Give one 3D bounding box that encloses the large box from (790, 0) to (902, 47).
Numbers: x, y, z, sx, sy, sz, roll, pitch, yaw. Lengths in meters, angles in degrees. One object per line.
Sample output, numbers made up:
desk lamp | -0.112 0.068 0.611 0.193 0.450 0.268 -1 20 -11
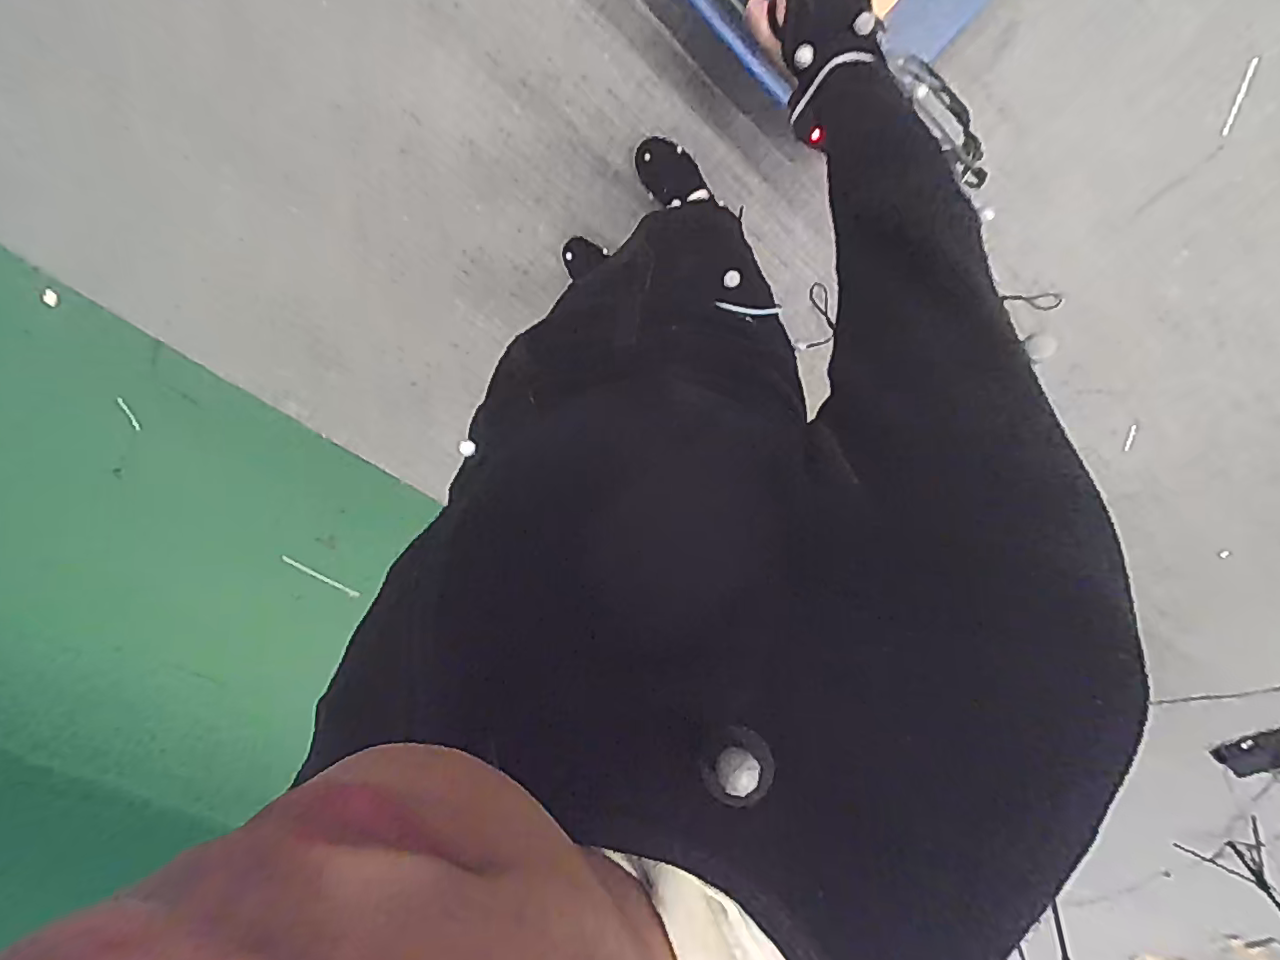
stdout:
large box | 0.360 -0.944 0.769 0.320 0.320 0.408 36 119 -19
